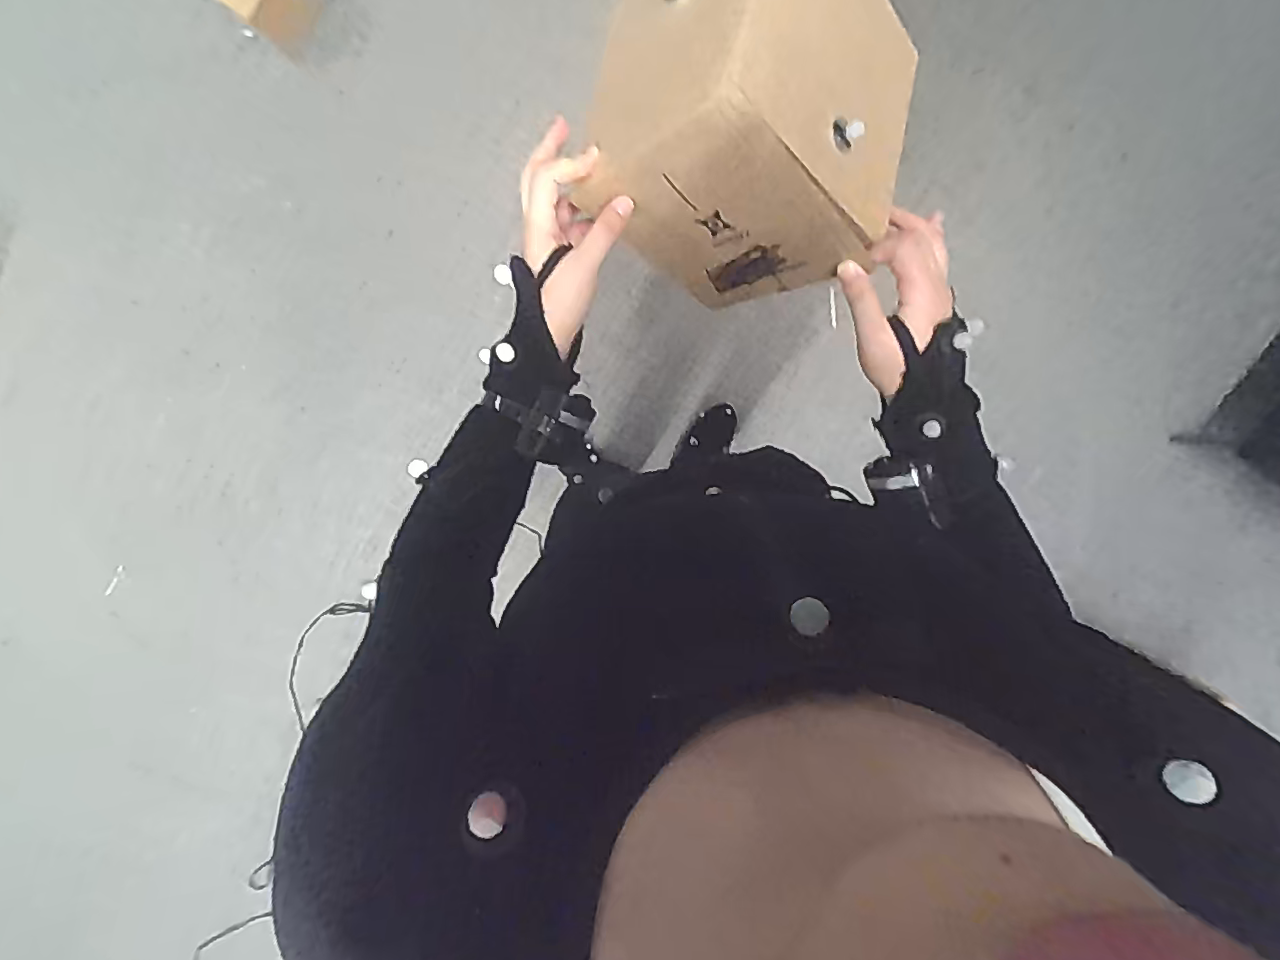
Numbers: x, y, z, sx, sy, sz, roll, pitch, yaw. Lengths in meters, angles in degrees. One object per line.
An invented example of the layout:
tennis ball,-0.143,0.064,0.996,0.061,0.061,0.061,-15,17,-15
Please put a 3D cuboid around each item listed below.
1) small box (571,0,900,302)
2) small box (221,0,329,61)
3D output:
small box,0.078,-0.267,0.417,0.179,0.168,0.176,19,80,-39
small box,-0.834,-1.100,1.199,0.168,0.176,0.179,37,99,-6
